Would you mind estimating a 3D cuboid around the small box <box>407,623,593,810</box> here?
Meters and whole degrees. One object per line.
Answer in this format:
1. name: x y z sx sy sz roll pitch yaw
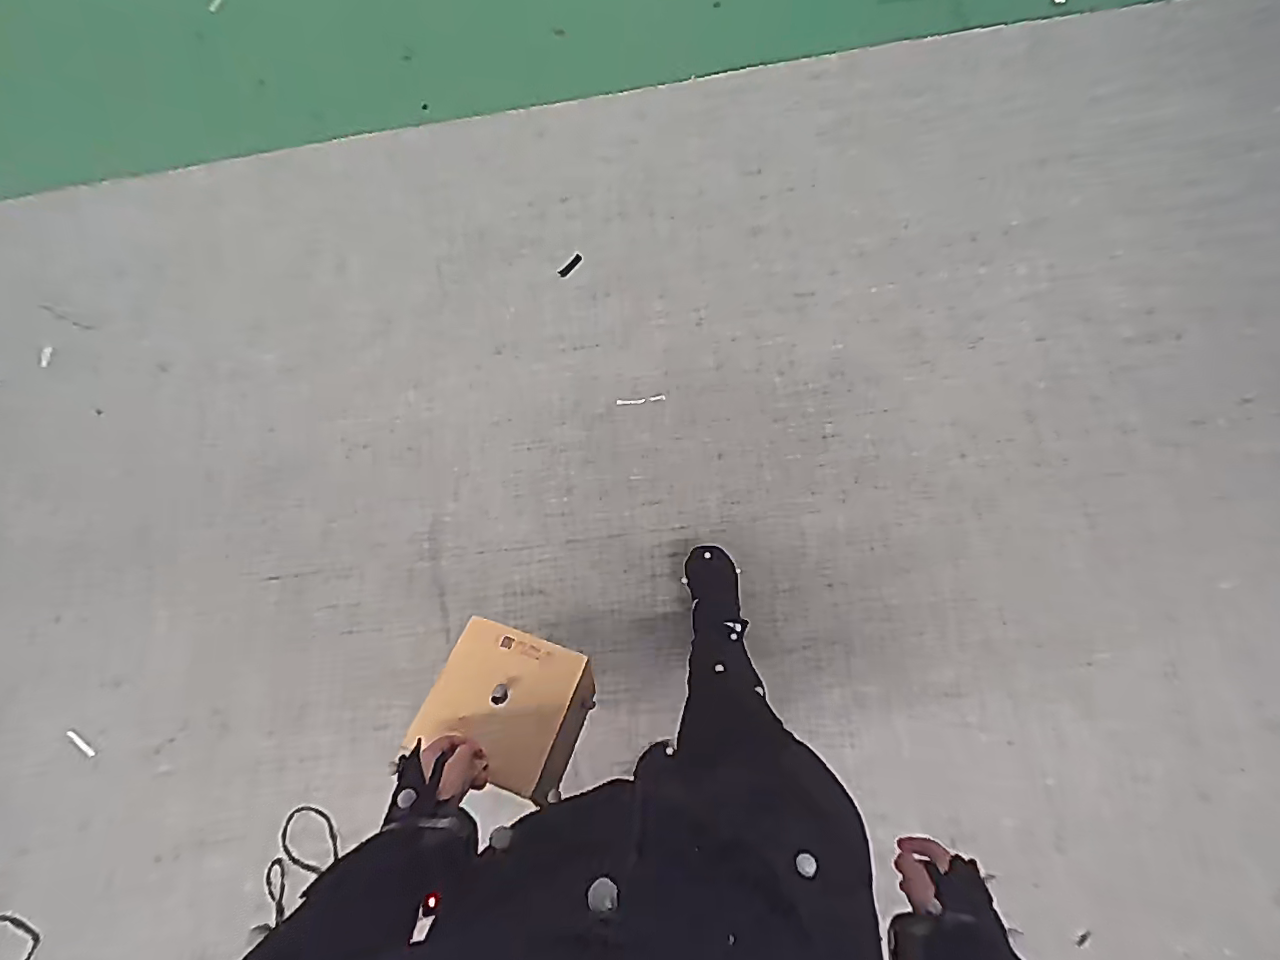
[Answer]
1. small box: -0.168 0.311 0.716 0.168 0.179 0.176 15 56 9
